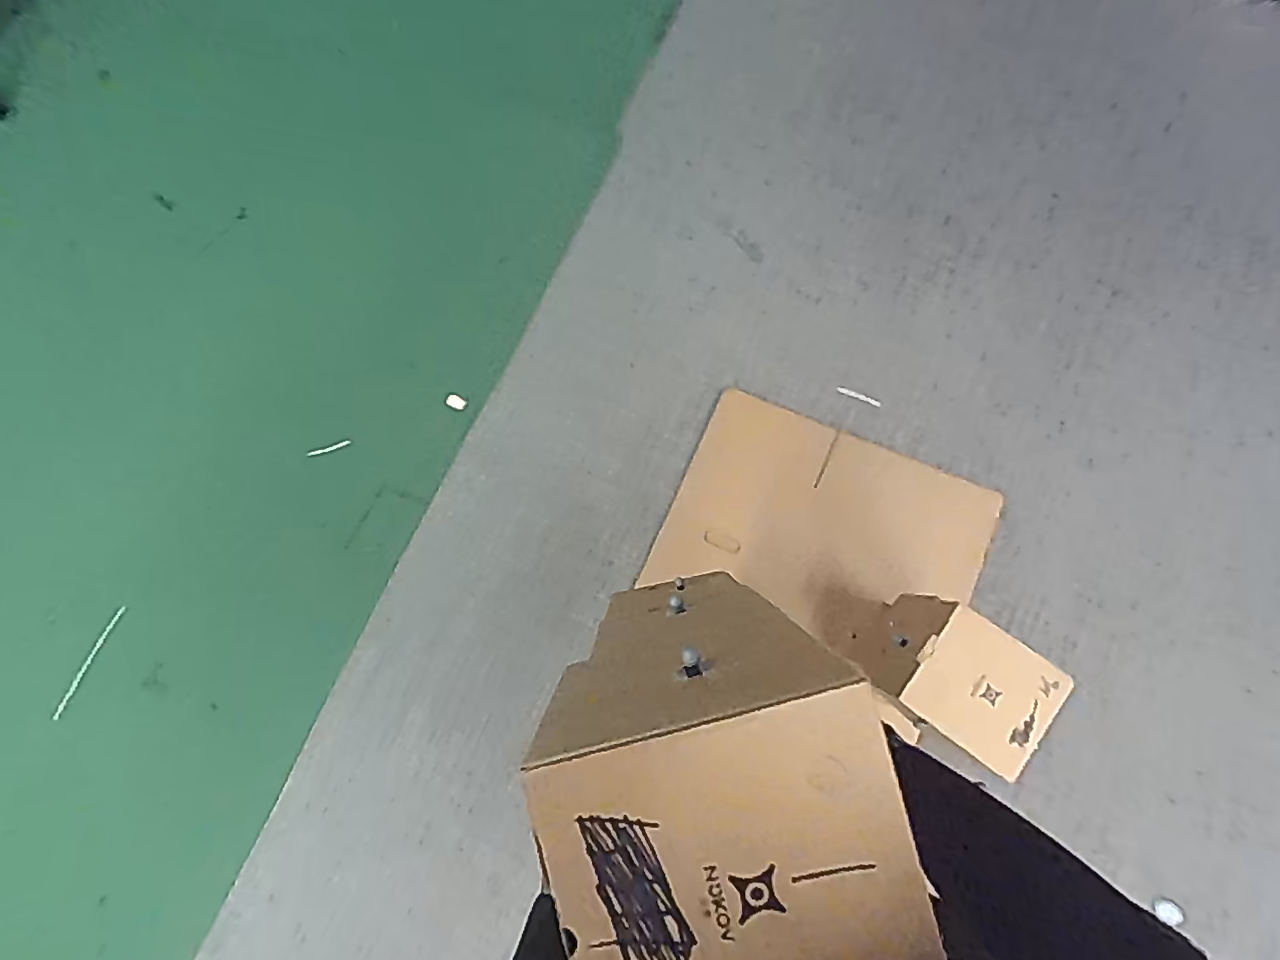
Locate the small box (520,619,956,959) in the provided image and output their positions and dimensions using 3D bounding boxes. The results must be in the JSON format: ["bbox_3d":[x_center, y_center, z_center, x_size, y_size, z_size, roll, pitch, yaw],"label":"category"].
[{"bbox_3d":[0.047,0.198,0.326,0.179,0.176,0.168,-16,88,-1],"label":"small box"}]

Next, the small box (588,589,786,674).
[{"bbox_3d":[0.058,0.213,0.490,0.168,0.176,0.179,-14,88,-1],"label":"small box"}]

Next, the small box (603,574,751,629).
[{"bbox_3d":[0.058,0.224,0.654,0.168,0.176,0.179,-13,87,-1],"label":"small box"}]

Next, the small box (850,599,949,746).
[{"bbox_3d":[0.508,0.328,0.964,0.179,0.176,0.168,-44,78,-4],"label":"small box"}]

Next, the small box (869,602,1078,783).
[{"bbox_3d":[0.476,0.301,0.805,0.179,0.176,0.168,37,84,12],"label":"small box"}]
